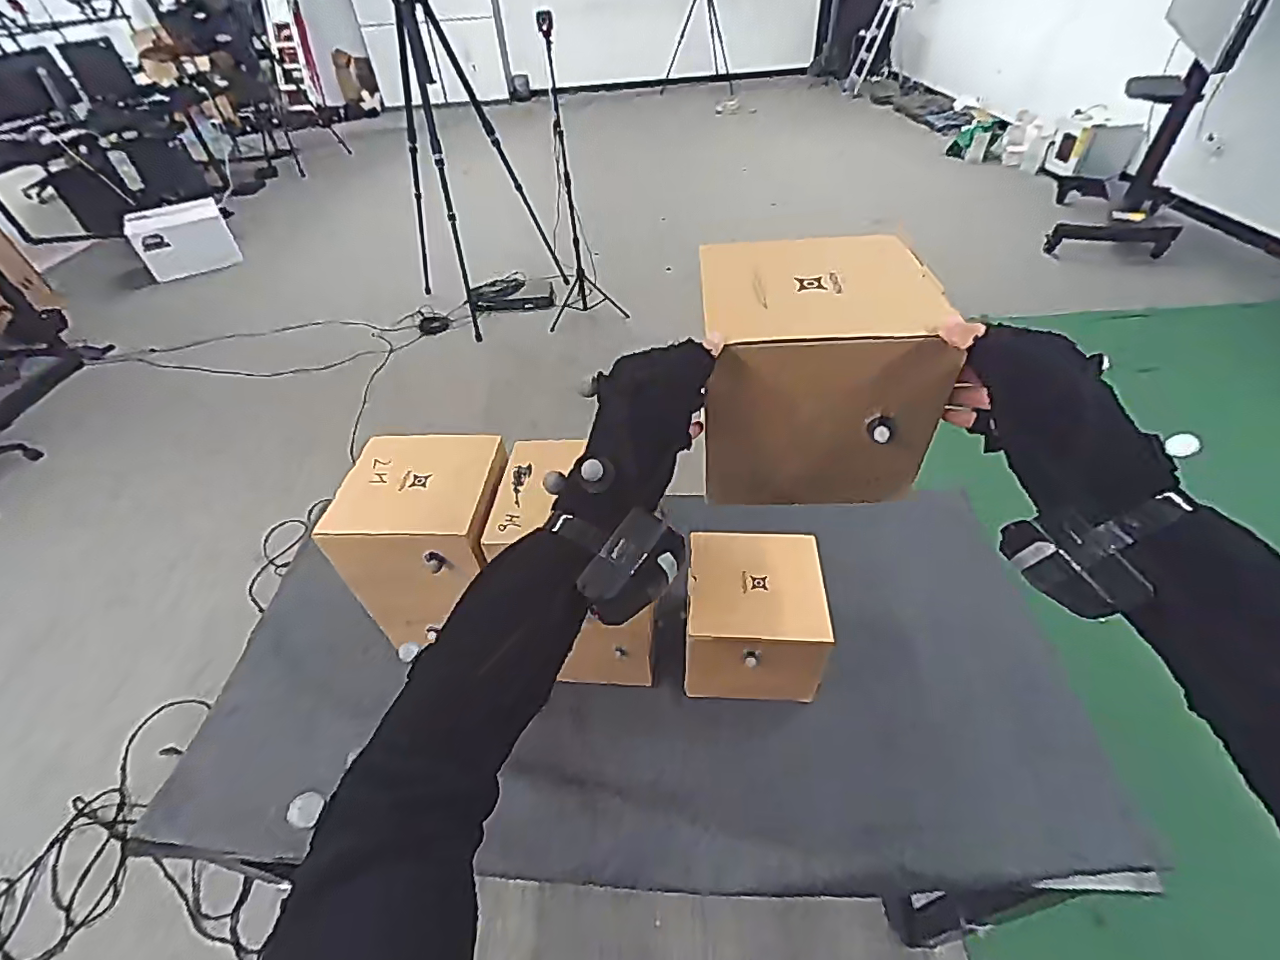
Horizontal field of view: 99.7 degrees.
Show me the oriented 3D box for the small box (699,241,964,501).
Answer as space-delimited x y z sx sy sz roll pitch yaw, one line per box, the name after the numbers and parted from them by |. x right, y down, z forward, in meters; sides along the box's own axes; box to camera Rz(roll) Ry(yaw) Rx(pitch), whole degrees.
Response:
0.144 -0.094 0.483 0.179 0.176 0.168 -1 45 5 | small box
